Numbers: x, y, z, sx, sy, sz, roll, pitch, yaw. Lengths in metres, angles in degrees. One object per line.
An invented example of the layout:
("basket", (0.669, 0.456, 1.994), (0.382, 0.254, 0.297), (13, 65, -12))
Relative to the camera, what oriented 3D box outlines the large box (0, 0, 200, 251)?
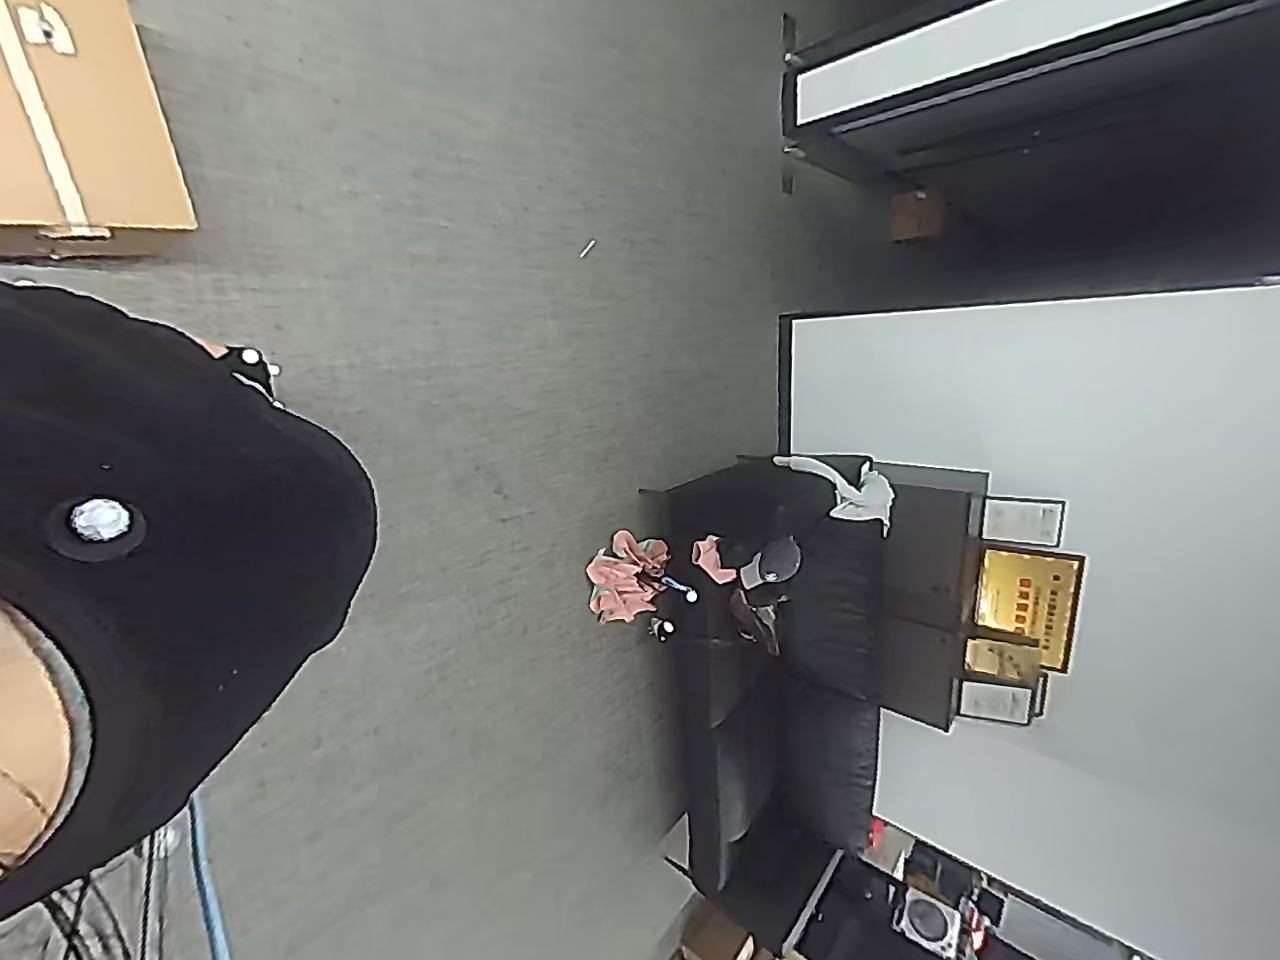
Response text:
("large box", (-1.001, -0.612, 0.881), (0.320, 0.320, 0.408), (-24, 114, -44))
